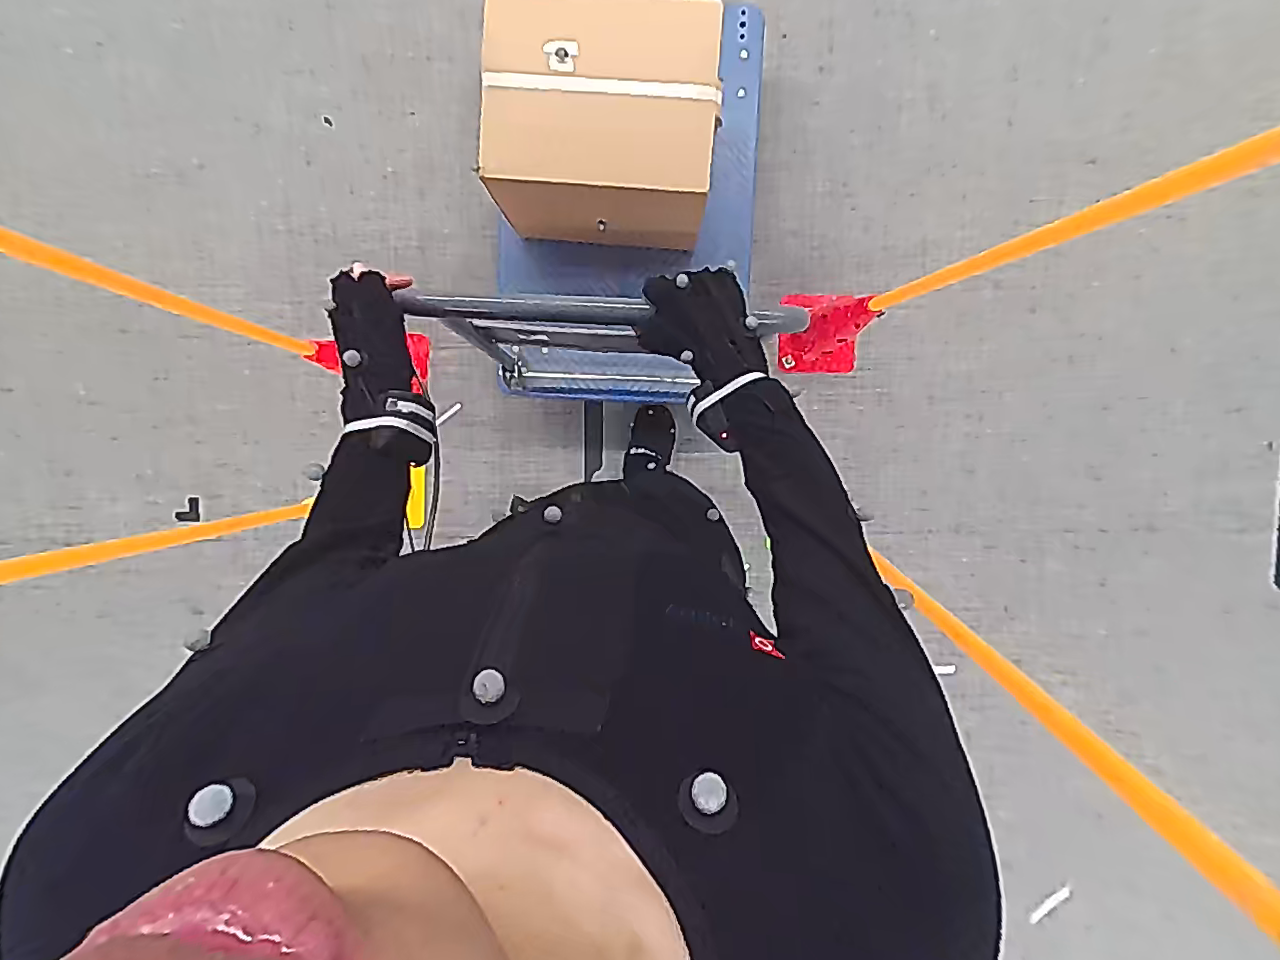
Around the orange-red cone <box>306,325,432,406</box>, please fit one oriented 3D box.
[{"bbox_3d":[-0.662,-0.292,1.274,0.198,0.360,0.199,7,94,0],"label":"orange-red cone"}]

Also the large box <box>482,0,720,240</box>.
[{"bbox_3d":[-0.065,-0.689,1.073,0.408,0.320,0.320,4,96,2],"label":"large box"}]

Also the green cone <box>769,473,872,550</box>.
[{"bbox_3d":[0.449,0.102,1.279,0.202,0.368,0.200,4,95,0],"label":"green cone"}]

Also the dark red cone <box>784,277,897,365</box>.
[{"bbox_3d":[0.467,-0.379,1.216,0.201,0.394,0.202,0,96,0],"label":"dark red cone"}]
